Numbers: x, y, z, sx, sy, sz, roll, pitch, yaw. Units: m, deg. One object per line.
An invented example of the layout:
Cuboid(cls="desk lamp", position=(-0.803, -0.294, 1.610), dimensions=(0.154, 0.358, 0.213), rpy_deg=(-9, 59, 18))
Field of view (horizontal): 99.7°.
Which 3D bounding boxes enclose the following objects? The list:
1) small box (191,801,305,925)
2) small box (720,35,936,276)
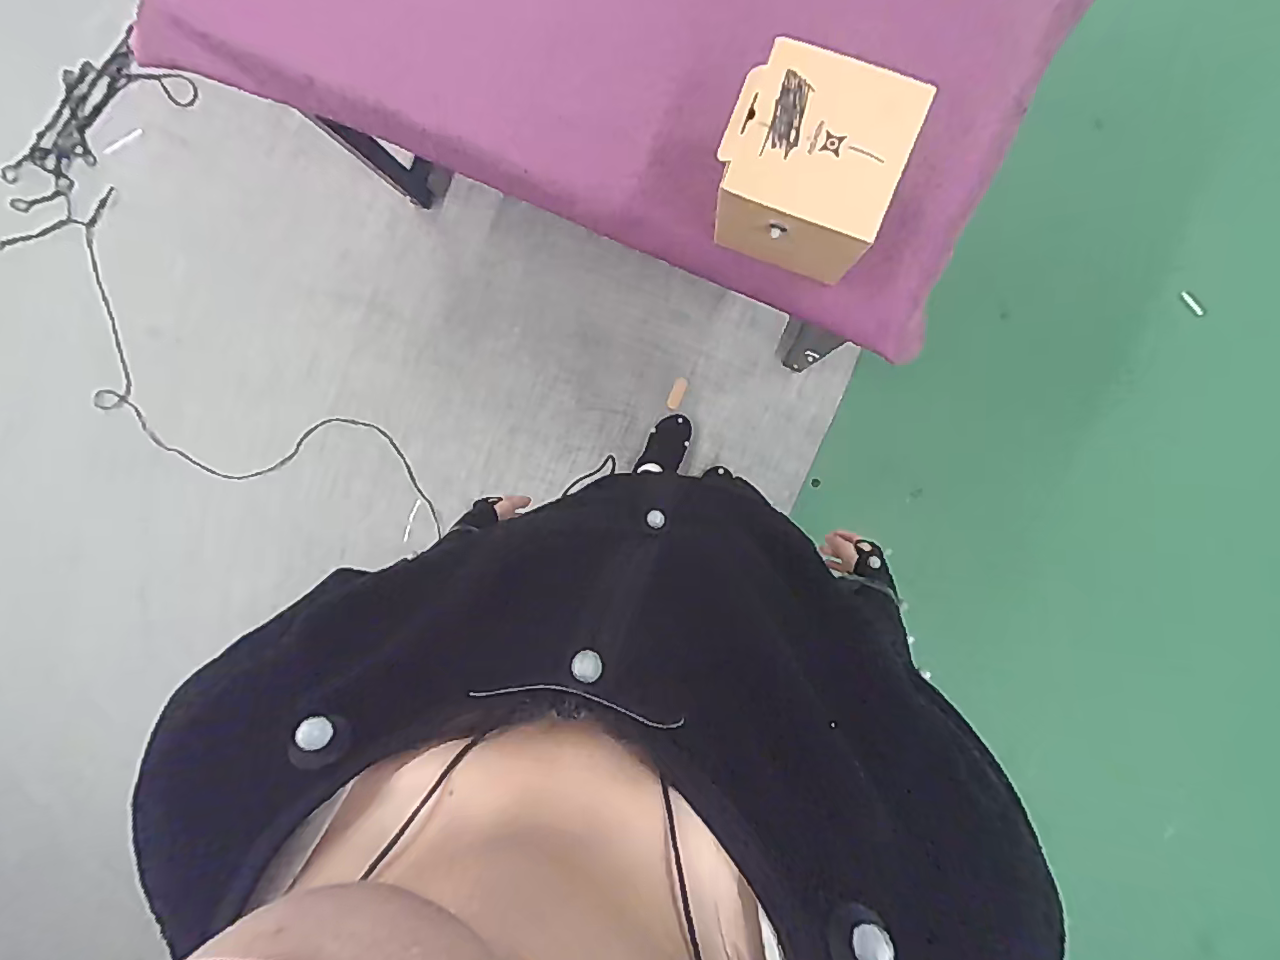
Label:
Cuboid(cls="small box", position=(-1.011, 0.987, 1.406), dimensions=(0.168, 0.176, 0.179), rpy_deg=(12, 95, 4))
Cuboid(cls="small box", position=(0.204, -0.367, 0.648), dimensions=(0.179, 0.176, 0.168), rpy_deg=(22, 97, 4))
